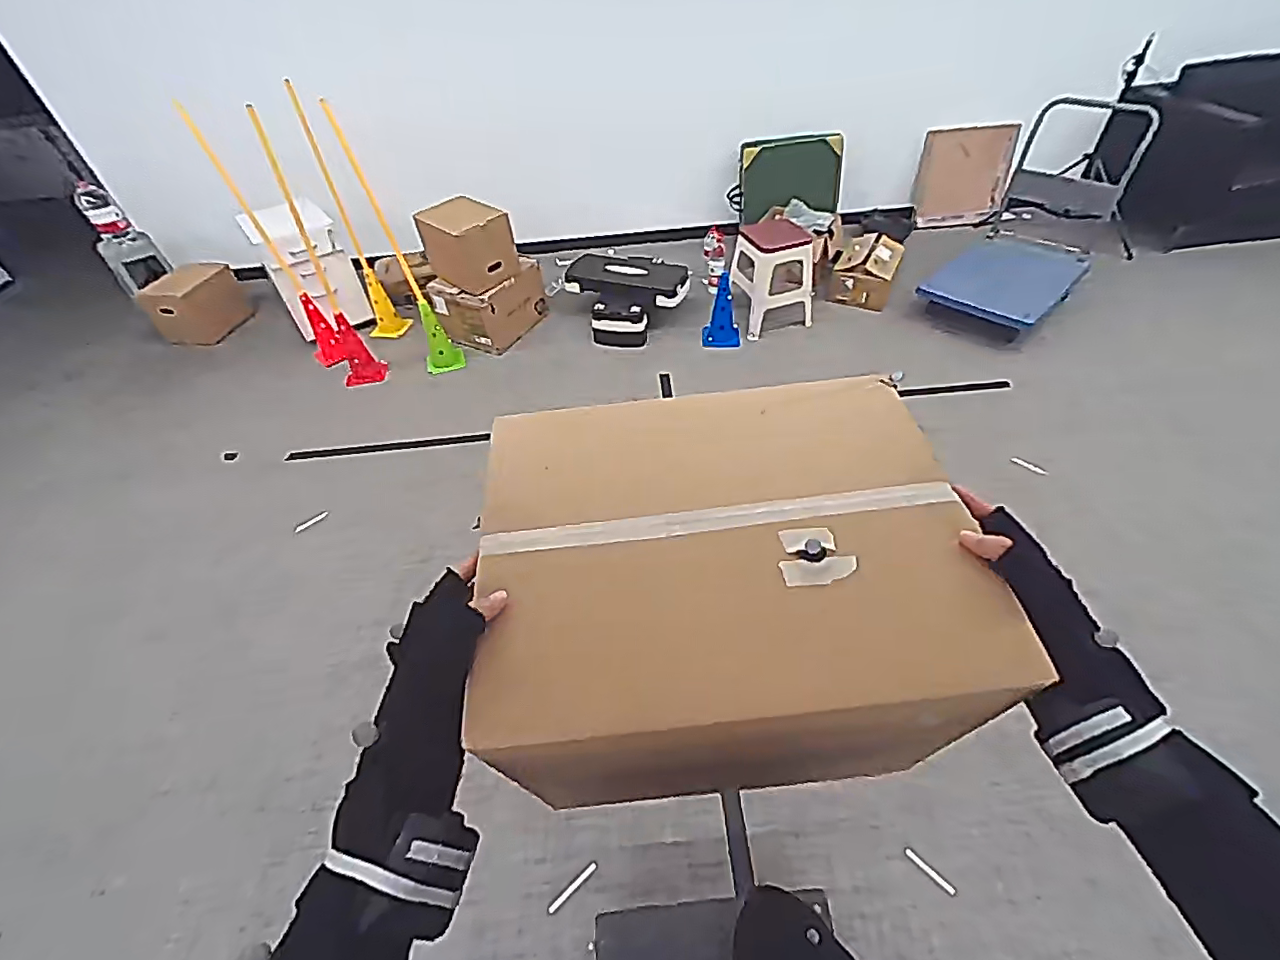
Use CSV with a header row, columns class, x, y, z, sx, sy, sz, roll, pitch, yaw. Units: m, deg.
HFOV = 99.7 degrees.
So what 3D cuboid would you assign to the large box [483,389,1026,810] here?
class,x,y,z,sx,sy,sz,roll,pitch,yaw
large box,0.077,0.138,0.592,0.408,0.320,0.320,-7,52,0
